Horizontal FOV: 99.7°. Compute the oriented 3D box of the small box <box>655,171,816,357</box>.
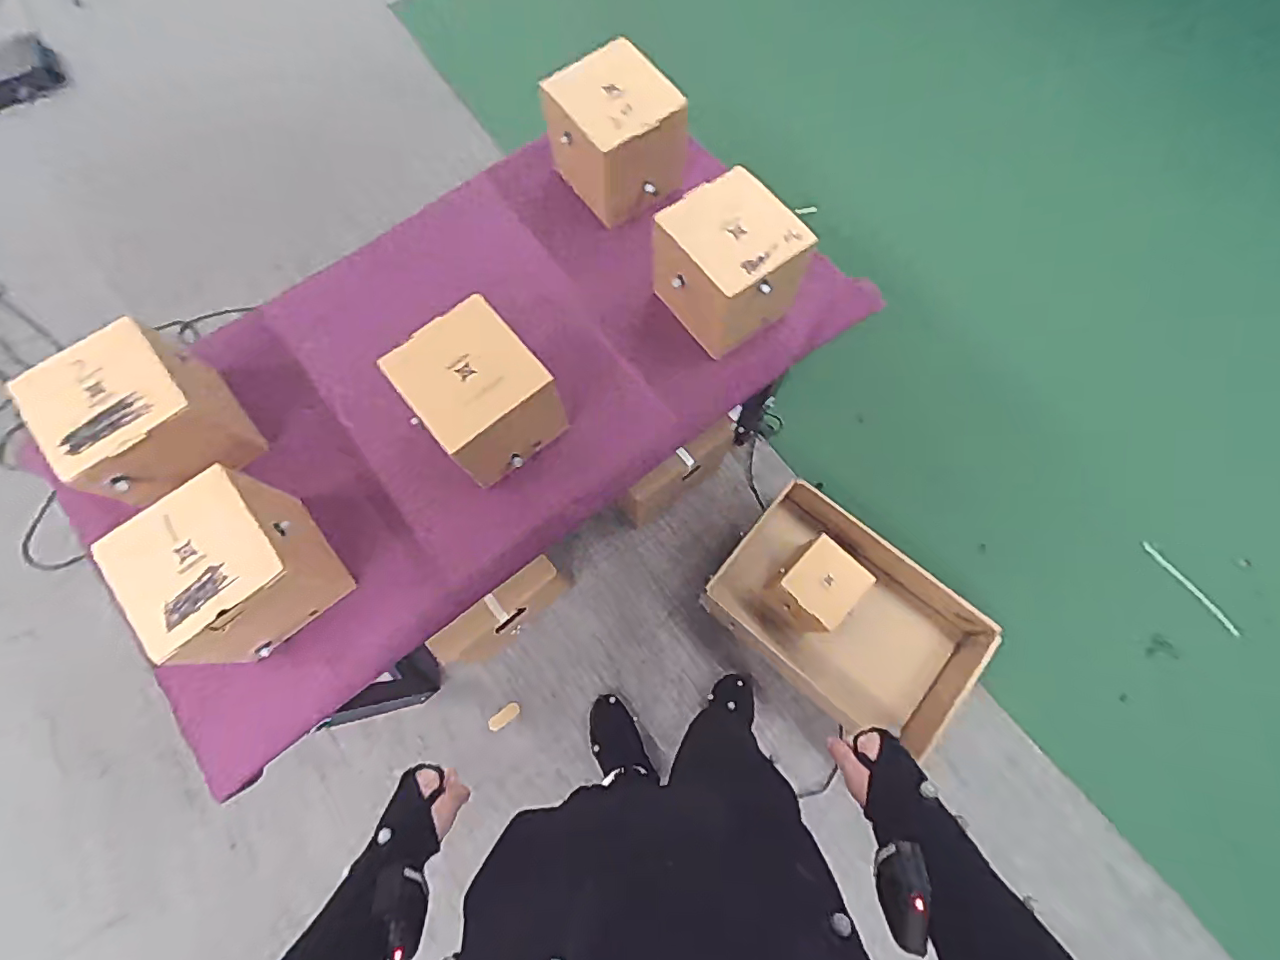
[{"bbox_3d":[0.138,-0.330,0.851,0.168,0.176,0.179,-35,73,-9],"label":"small box"}]

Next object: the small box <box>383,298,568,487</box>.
[{"bbox_3d":[-0.226,-0.117,0.785,0.168,0.176,0.179,-39,76,-10],"label":"small box"}]

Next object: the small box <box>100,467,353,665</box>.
[{"bbox_3d":[-0.520,0.117,0.708,0.168,0.176,0.179,-39,75,-12],"label":"small box"}]

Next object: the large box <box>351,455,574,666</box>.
[{"bbox_3d":[-0.424,0.214,1.373,0.320,0.320,0.408,-39,75,-12],"label":"large box"}]

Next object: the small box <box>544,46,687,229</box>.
[{"bbox_3d":[-0.040,-0.577,0.929,0.168,0.176,0.179,-36,77,-8],"label":"small box"}]
